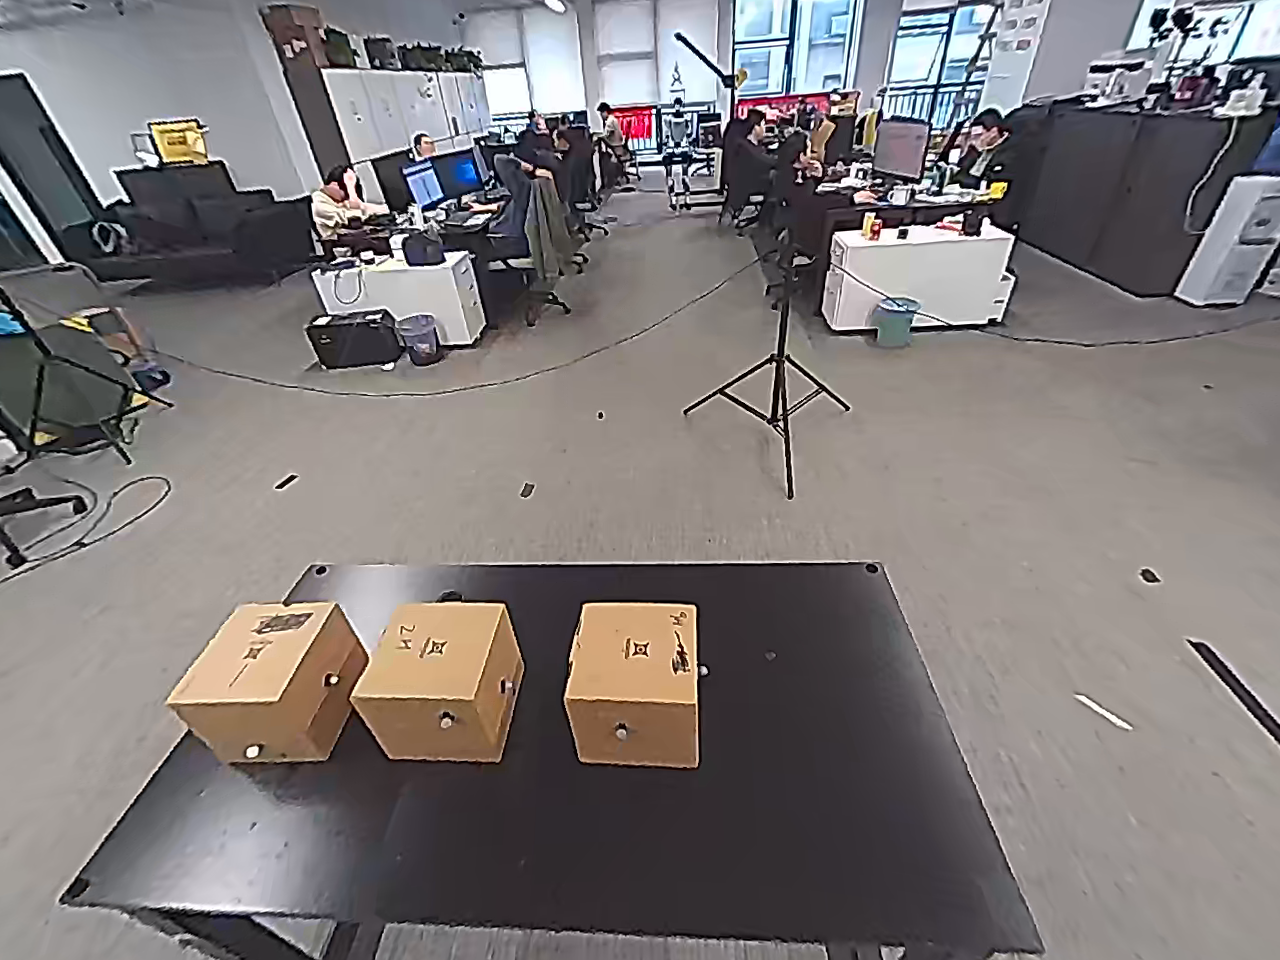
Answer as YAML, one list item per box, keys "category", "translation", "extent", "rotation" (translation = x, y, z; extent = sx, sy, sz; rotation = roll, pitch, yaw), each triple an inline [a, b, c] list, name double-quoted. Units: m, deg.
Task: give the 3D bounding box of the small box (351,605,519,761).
- category: "small box"
  translation: [-0.298, 0.313, 0.835]
  extent: [0.179, 0.176, 0.168]
  rotation: [-1, 36, 4]

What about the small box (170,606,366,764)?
- category: "small box"
  translation: [-0.563, 0.321, 0.855]
  extent: [0.168, 0.176, 0.179]
  rotation: [-2, 37, 3]

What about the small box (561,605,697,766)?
- category: "small box"
  translation: [-0.005, 0.307, 0.813]
  extent: [0.179, 0.176, 0.168]
  rotation: [-1, 36, 6]
